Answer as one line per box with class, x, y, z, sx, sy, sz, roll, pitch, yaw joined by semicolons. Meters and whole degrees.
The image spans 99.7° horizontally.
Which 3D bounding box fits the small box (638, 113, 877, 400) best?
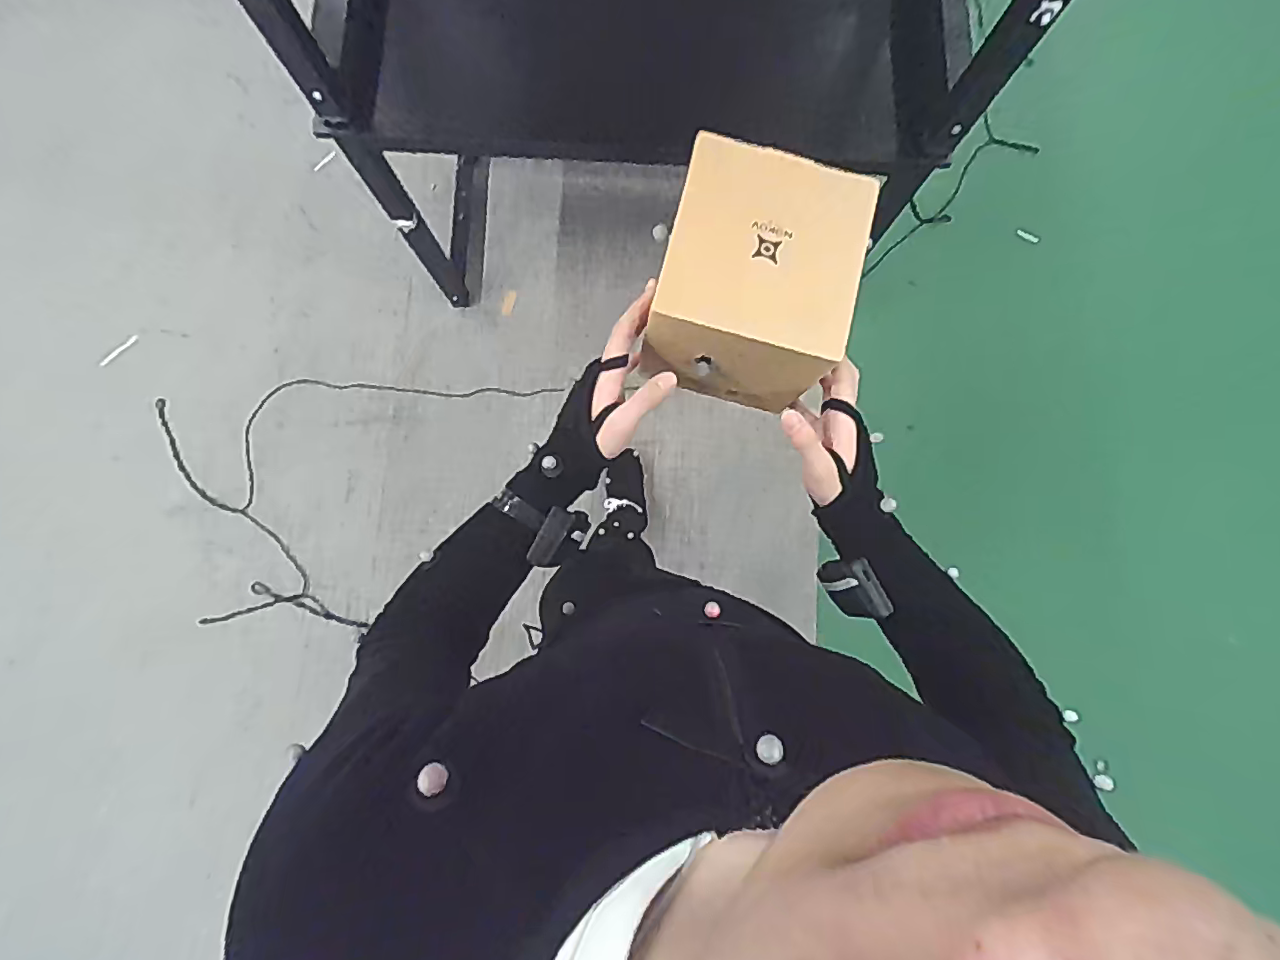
small box;0.096;-0.194;0.520;0.168;0.176;0.179;15;80;-1
